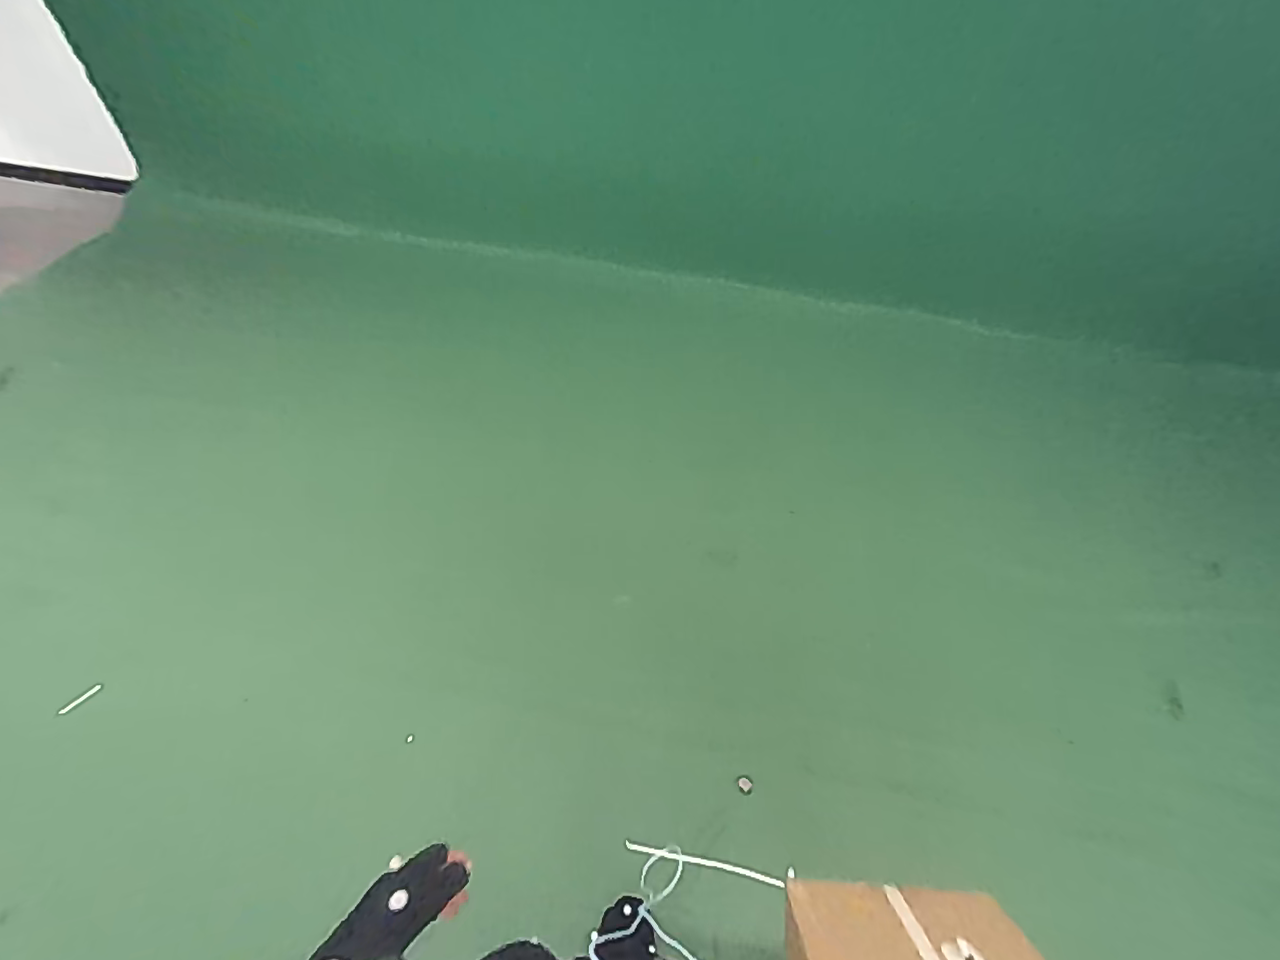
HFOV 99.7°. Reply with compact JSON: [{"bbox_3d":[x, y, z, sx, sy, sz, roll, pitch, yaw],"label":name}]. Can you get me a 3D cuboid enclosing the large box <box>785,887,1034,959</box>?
[{"bbox_3d":[0.366,0.780,0.631,0.320,0.408,0.320,2,88,3],"label":"large box"}]
